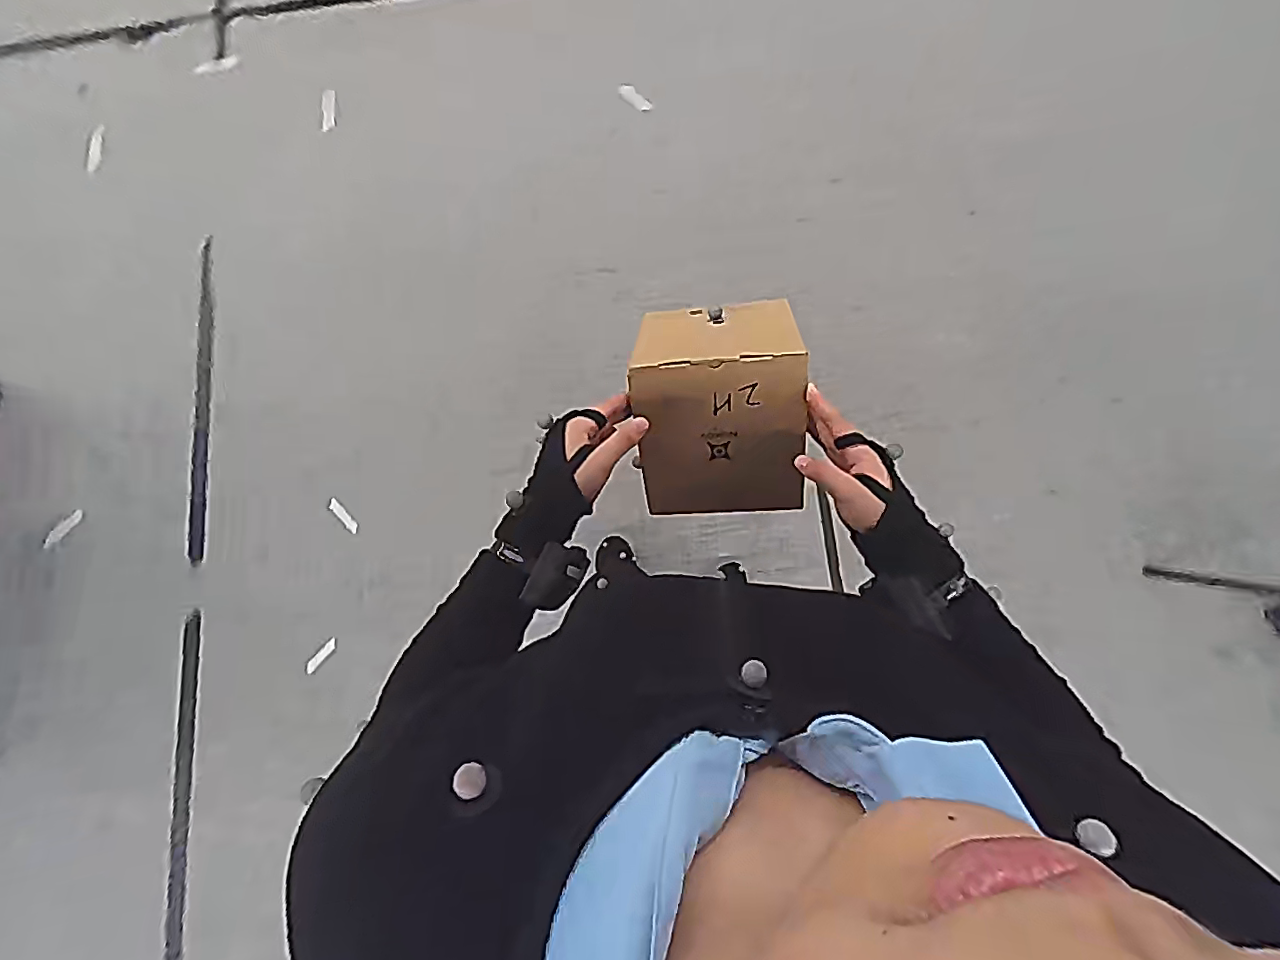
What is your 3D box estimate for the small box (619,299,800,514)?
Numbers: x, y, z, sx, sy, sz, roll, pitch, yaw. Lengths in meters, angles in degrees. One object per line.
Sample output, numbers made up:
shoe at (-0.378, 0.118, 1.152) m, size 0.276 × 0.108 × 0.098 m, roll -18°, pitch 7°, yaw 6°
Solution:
small box at (0.080, -0.083, 0.596) m, size 0.168 × 0.176 × 0.179 m, roll -4°, pitch 123°, yaw 9°
